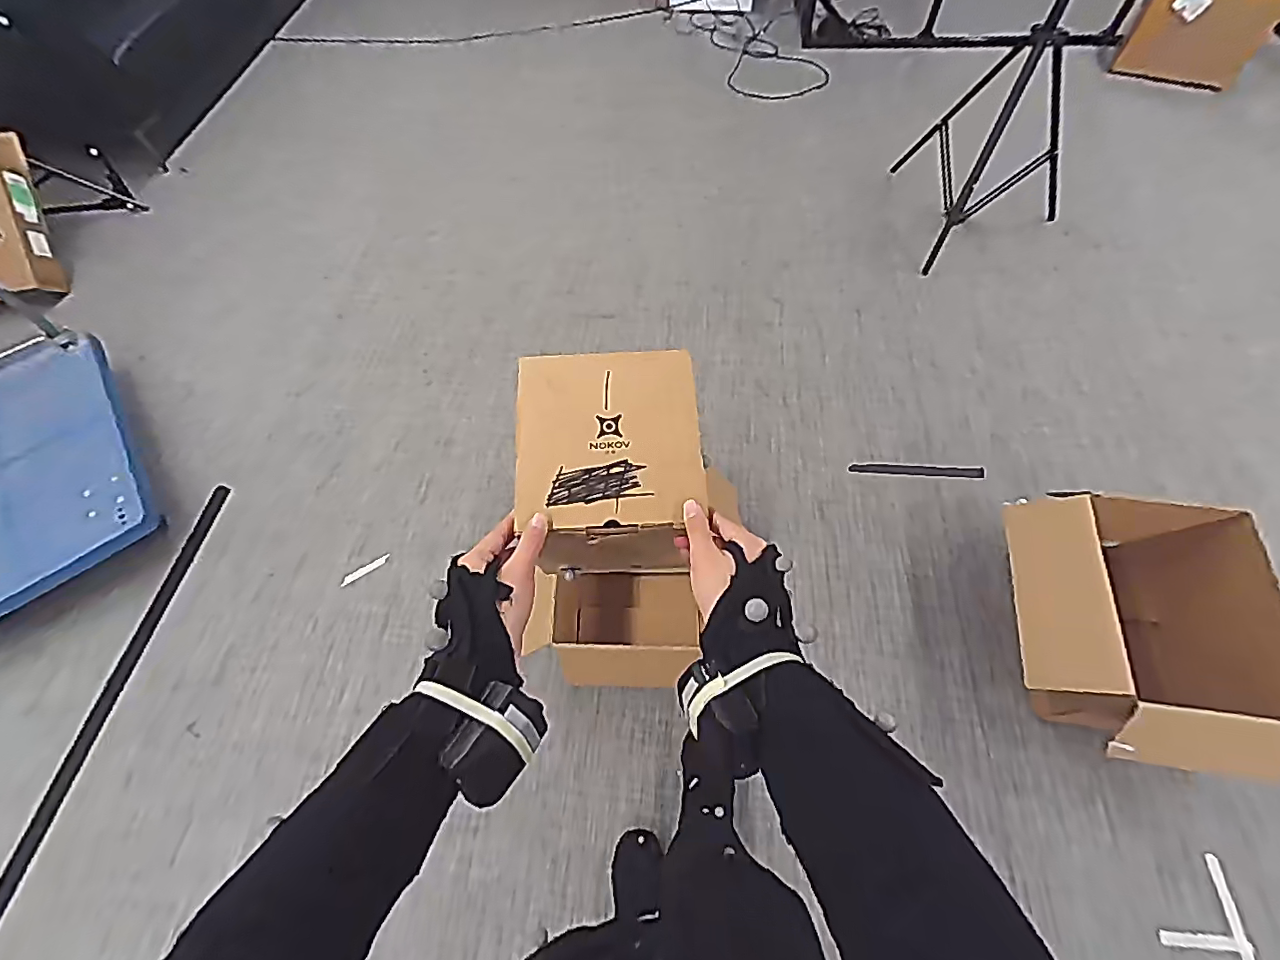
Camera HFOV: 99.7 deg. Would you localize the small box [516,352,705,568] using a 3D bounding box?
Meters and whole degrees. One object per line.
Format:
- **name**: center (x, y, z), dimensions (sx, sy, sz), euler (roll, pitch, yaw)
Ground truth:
- **small box**: center (-0.028, -0.010, 0.563), dimensions (0.168, 0.176, 0.179), euler (-3, 67, -2)
